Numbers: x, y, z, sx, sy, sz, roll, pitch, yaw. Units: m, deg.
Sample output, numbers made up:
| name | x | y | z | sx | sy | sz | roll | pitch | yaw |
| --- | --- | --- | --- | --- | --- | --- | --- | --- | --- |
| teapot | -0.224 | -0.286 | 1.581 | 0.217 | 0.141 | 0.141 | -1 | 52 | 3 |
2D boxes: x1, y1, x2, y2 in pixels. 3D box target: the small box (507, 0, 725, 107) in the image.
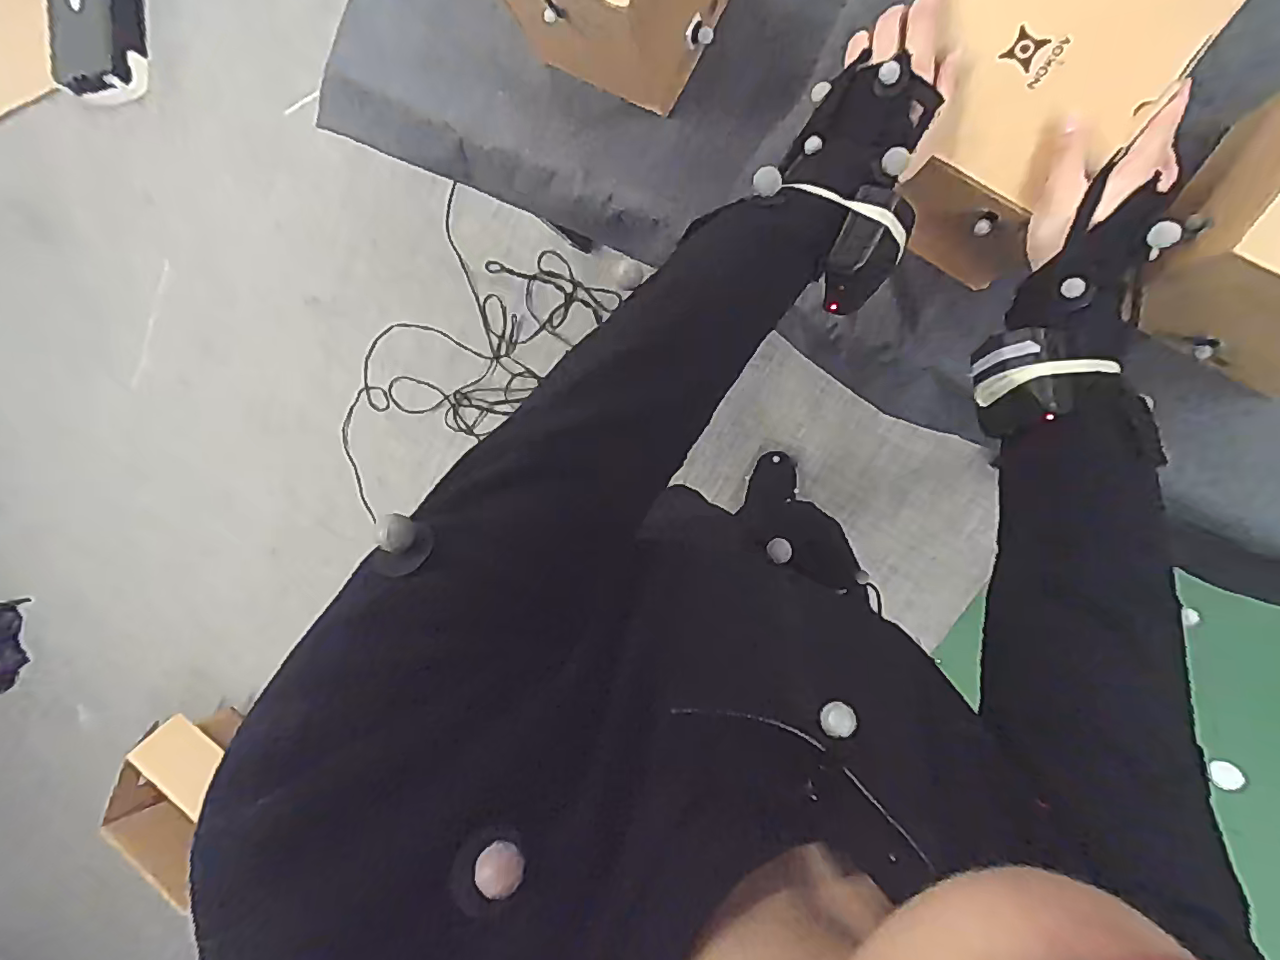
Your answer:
| name | x | y | z | sx | sy | sz | roll | pitch | yaw |
| --- | --- | --- | --- | --- | --- | --- | --- | --- | --- |
| small box | -0.027 | -0.495 | 0.502 | 0.179 | 0.176 | 0.168 | 32 | 103 | 9 |

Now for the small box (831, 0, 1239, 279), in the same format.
| name | x | y | z | sx | sy | sz | roll | pitch | yaw |
| --- | --- | --- | --- | --- | --- | --- | --- | --- | --- |
| small box | 0.277 | -0.292 | 0.439 | 0.179 | 0.176 | 0.168 | 37 | 103 | 9 |
